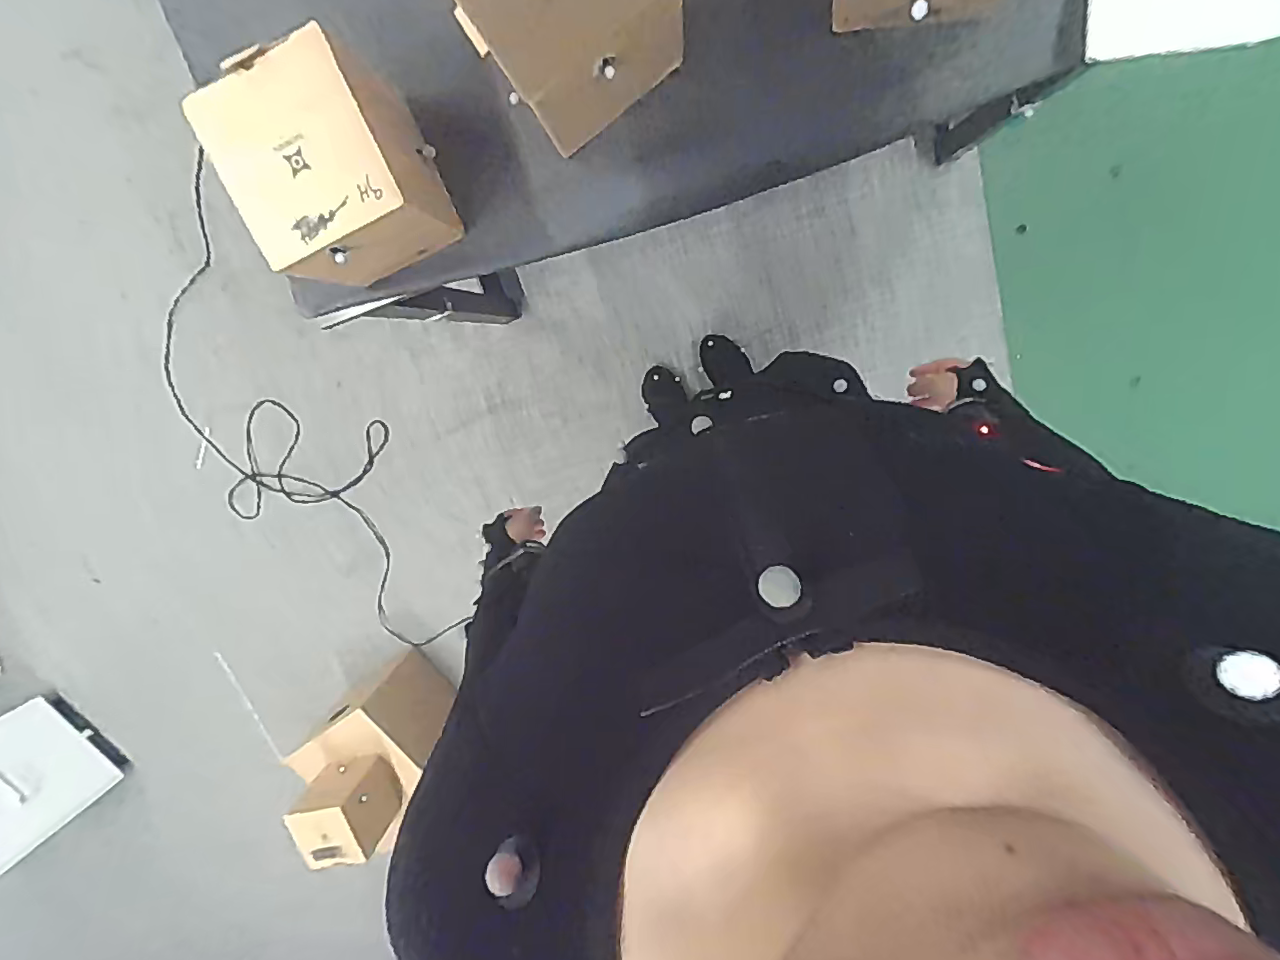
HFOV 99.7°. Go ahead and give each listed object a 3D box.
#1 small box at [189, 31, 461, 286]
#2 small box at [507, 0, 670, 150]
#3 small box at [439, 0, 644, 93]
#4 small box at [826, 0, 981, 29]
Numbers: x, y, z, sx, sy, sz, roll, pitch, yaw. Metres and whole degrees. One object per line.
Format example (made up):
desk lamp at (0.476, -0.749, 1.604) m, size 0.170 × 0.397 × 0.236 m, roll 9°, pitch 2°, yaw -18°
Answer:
small box at (-0.340, -0.344, 0.622) m, size 0.168 × 0.176 × 0.179 m, roll -22°, pitch 102°, yaw 10°
small box at (-0.081, -0.489, 0.563) m, size 0.179 × 0.176 × 0.168 m, roll -34°, pitch 100°, yaw 12°
small box at (-0.094, -0.445, 0.405) m, size 0.179 × 0.176 × 0.168 m, roll -31°, pitch 101°, yaw 12°
small box at (0.277, -0.575, 0.505) m, size 0.168 × 0.176 × 0.179 m, roll -1°, pitch 105°, yaw 6°
